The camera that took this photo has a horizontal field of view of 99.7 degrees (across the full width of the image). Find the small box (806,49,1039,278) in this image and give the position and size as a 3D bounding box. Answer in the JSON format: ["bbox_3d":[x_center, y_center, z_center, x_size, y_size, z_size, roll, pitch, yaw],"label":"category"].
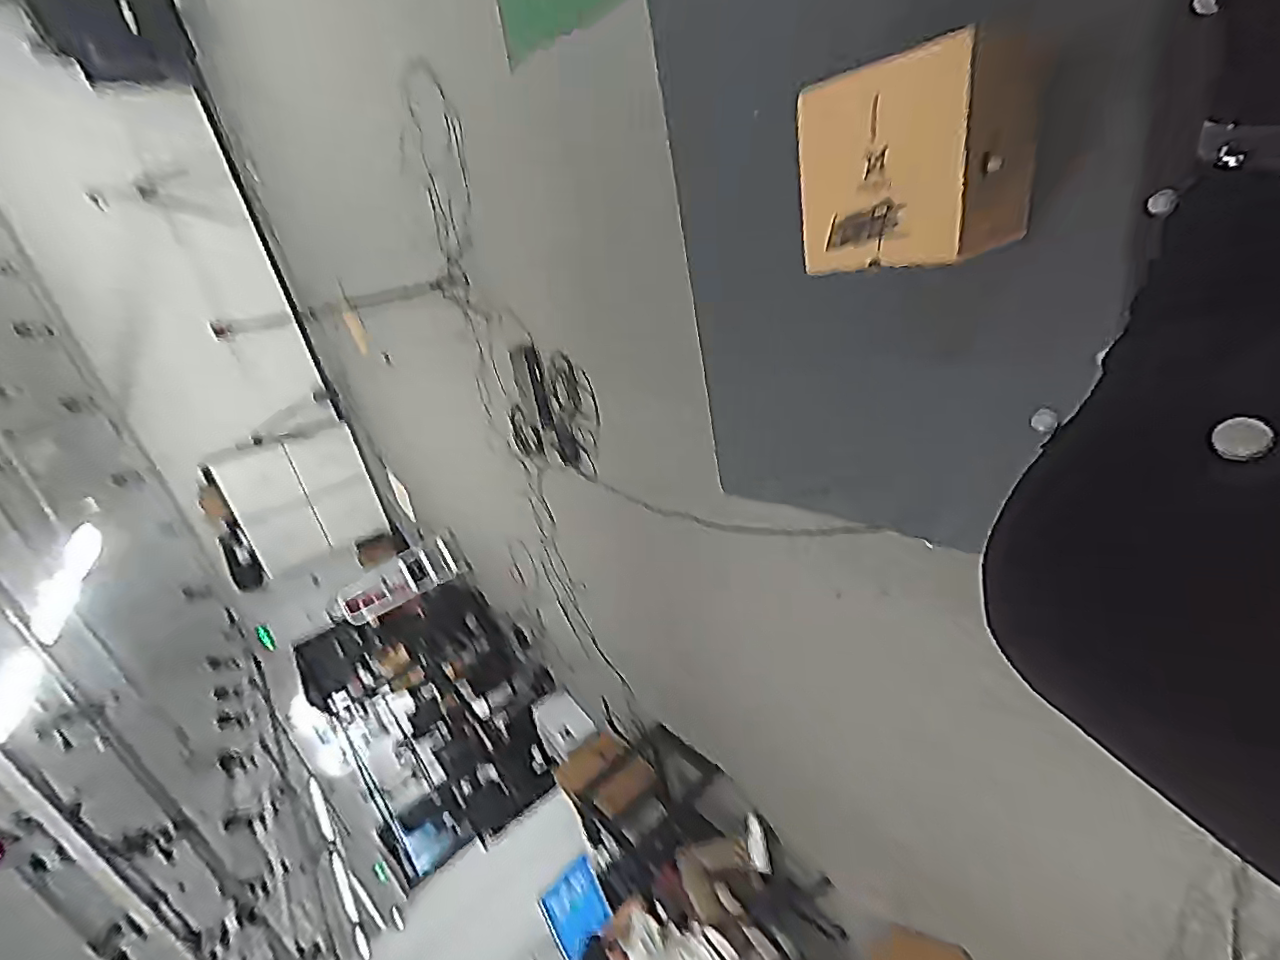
[{"bbox_3d":[0.301,-0.329,0.583,0.168,0.176,0.179,17,126,48],"label":"small box"}]
